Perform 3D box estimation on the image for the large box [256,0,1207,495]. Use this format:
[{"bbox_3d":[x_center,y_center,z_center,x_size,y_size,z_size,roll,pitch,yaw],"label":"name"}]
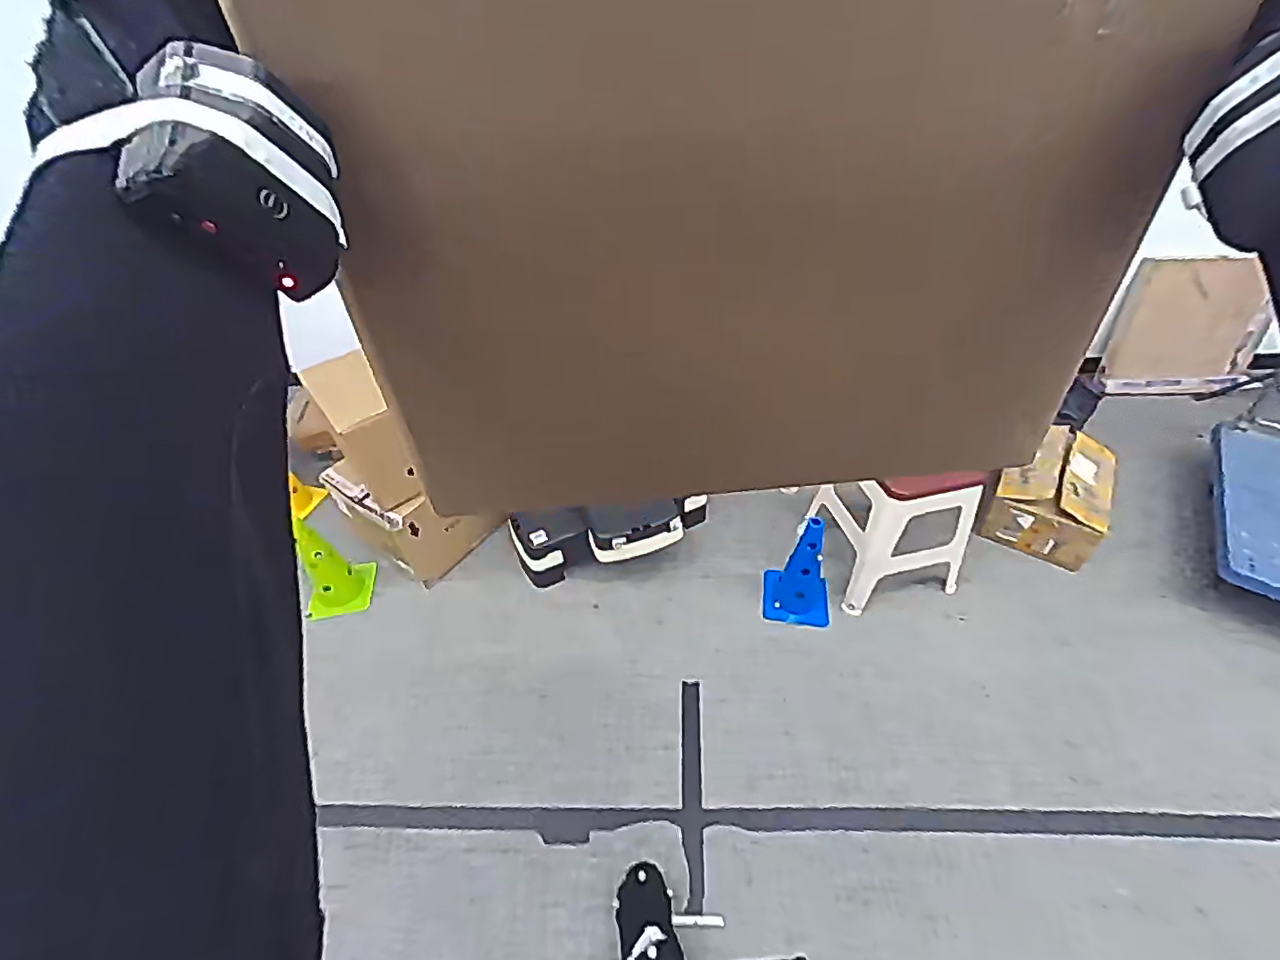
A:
[{"bbox_3d":[0.039,-0.212,0.390,0.408,0.320,0.320,-5,39,-2],"label":"large box"}]
